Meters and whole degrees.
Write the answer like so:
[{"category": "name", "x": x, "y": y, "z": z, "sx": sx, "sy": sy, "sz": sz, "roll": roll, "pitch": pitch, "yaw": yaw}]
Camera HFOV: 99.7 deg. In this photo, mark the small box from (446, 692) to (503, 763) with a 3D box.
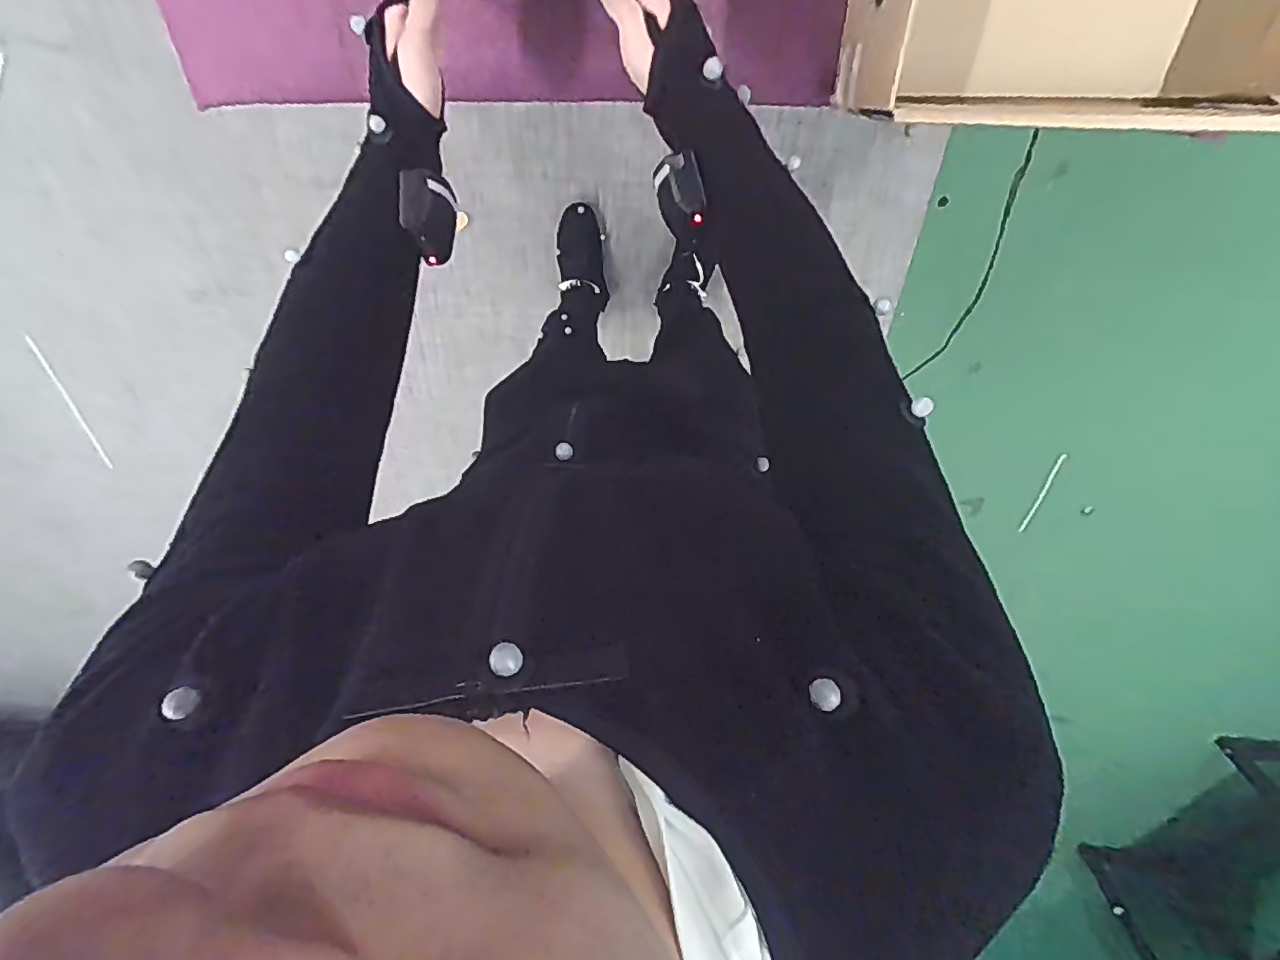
[{"category": "small box", "x": -0.605, "y": 0.909, "z": 1.990, "sx": 0.168, "sy": 0.176, "sz": 0.179, "roll": 8, "pitch": 123, "yaw": -3}]
